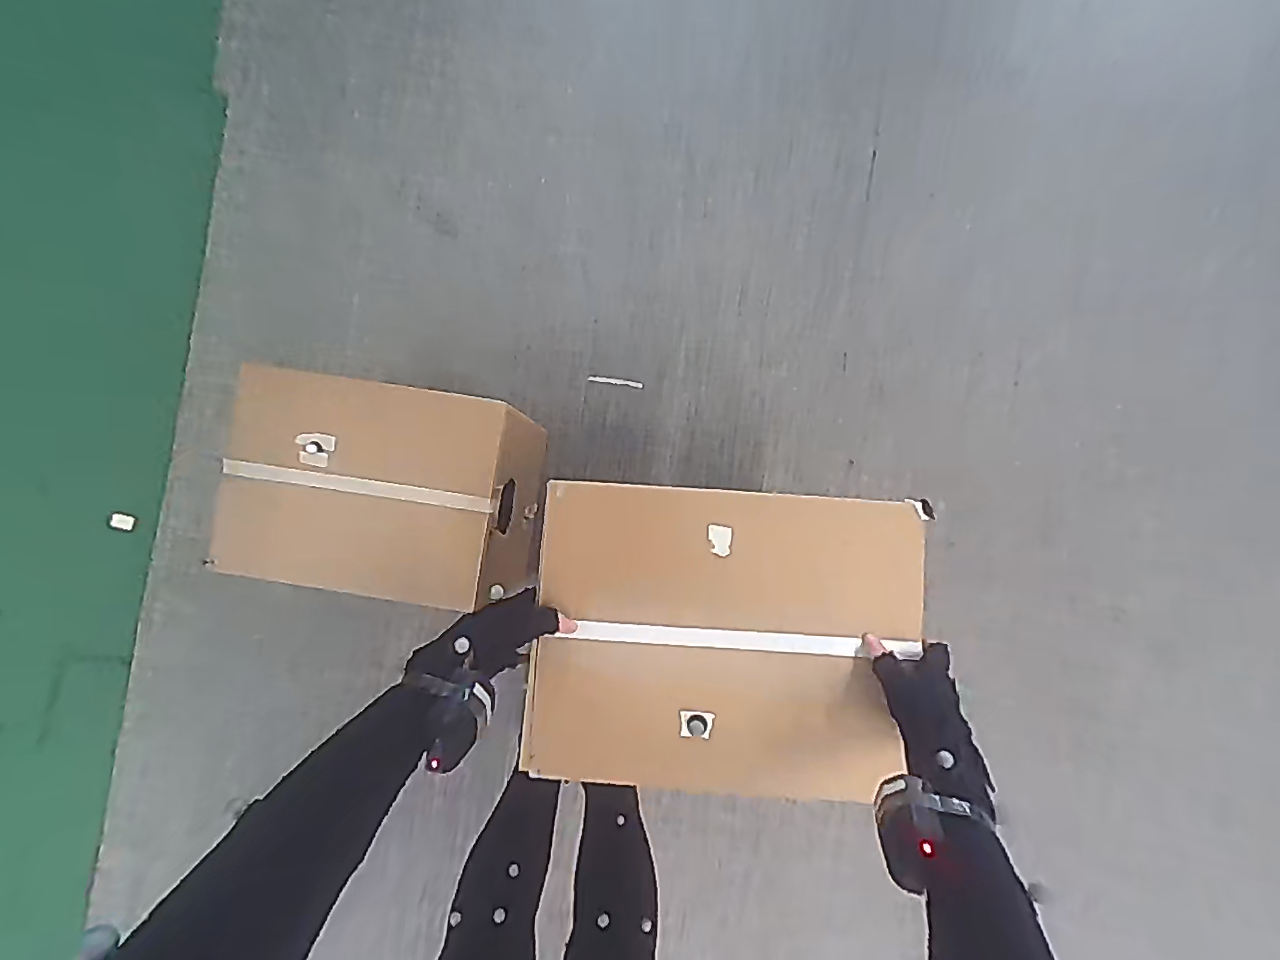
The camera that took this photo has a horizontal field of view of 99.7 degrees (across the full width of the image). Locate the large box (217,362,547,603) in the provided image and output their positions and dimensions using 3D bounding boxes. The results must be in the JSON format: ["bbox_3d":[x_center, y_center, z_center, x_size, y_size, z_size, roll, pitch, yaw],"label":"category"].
[{"bbox_3d":[-0.405,0.005,0.943,0.408,0.320,0.320,9,88,2],"label":"large box"}]
